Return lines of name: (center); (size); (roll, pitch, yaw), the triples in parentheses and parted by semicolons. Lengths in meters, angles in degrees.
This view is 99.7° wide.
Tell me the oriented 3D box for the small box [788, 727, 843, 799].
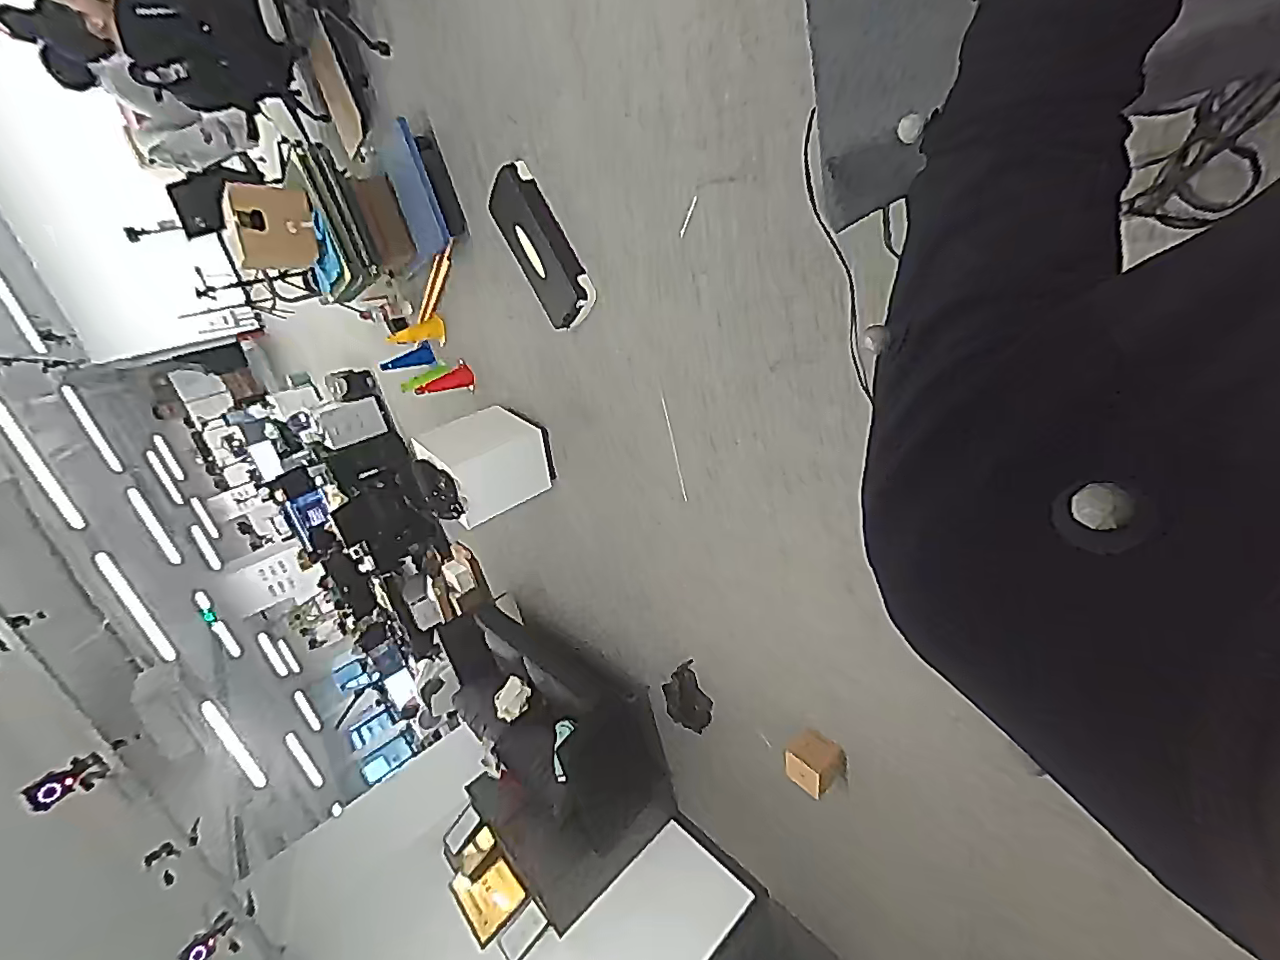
small box: (0.754, 1.205, 2.319); (0.168, 0.176, 0.179); (23, 132, 47)
